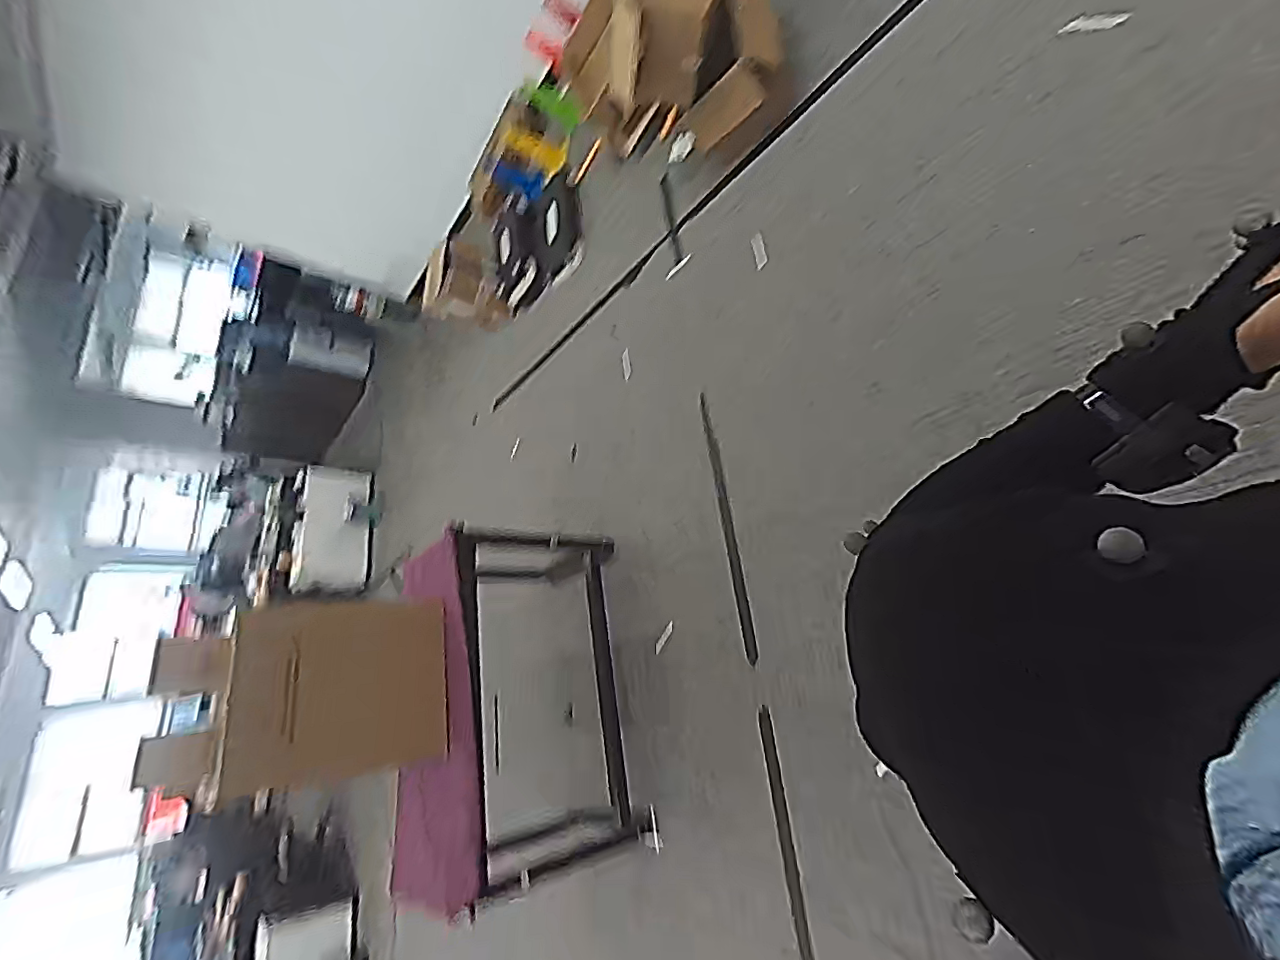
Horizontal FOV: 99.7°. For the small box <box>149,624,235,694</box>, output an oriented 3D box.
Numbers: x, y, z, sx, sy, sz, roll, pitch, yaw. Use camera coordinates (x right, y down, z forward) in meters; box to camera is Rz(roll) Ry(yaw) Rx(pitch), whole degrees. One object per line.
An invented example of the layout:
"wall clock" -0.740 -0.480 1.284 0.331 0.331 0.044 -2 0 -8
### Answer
"small box" -1.324 0.529 1.600 0.179 0.176 0.168 -32 60 40
